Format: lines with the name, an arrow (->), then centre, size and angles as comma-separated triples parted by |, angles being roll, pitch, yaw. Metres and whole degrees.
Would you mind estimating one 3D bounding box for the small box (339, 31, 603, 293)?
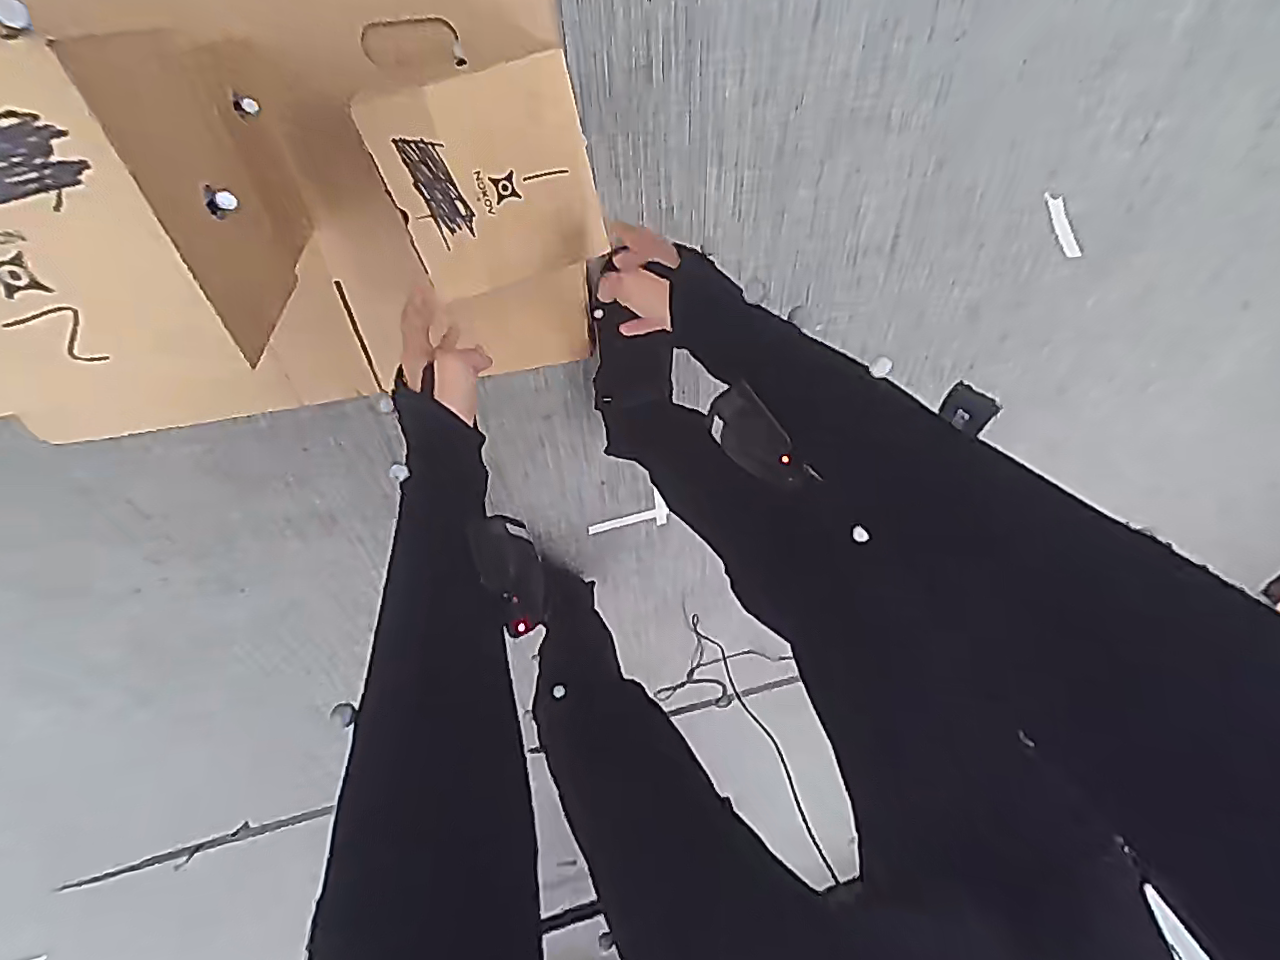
small box -> -0.151, -0.310, 0.522 | 0.179, 0.176, 0.168 | -18, 133, -4
